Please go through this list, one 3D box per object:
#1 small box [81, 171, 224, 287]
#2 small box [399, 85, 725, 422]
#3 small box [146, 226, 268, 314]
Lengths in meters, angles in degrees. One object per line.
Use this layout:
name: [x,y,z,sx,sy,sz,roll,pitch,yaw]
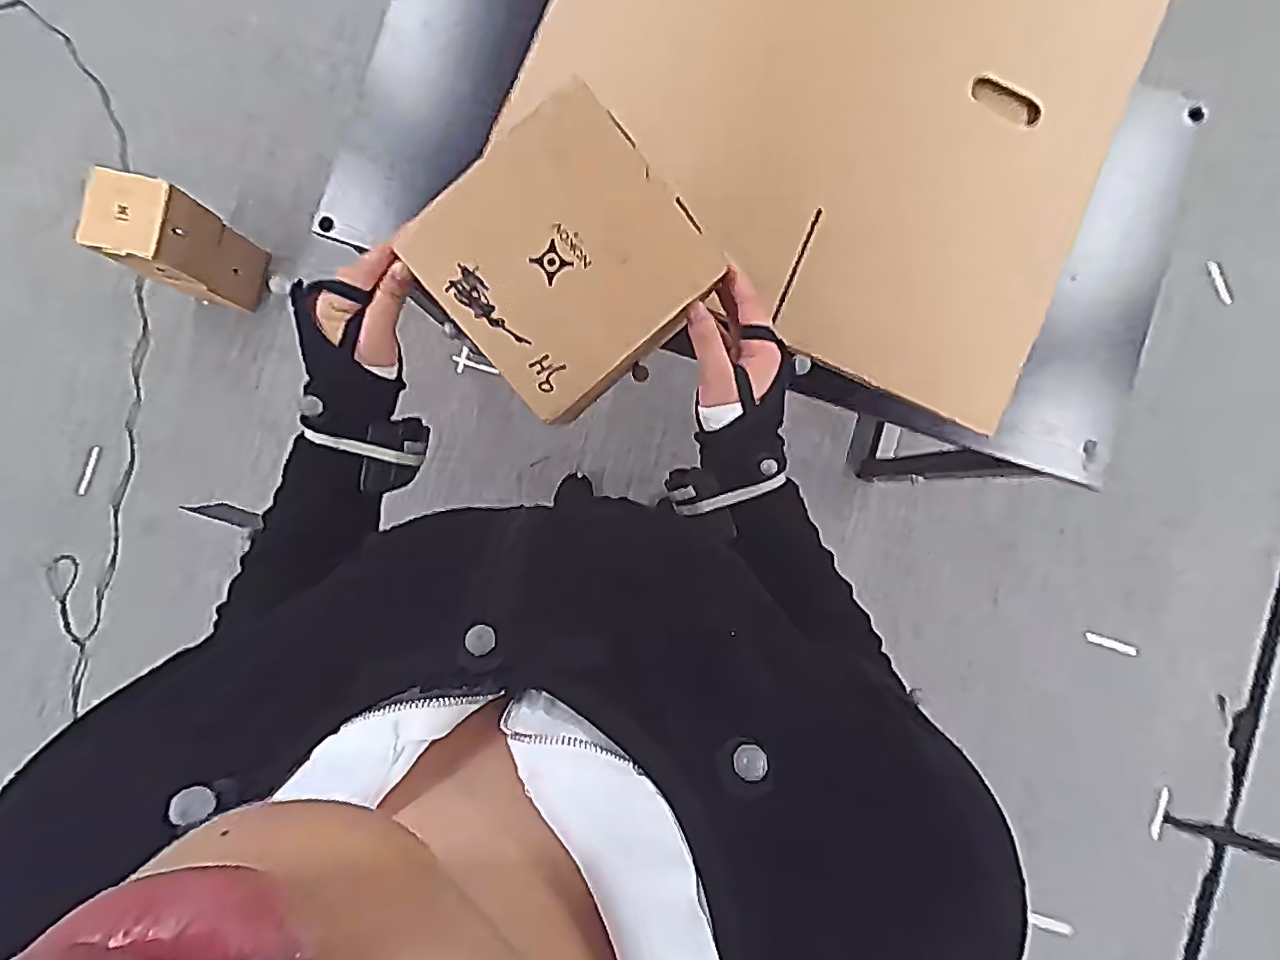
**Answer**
small box: [-1.114,-0.570,1.252,0.168,0.176,0.179,11,87,-2]
small box: [-0.058,-0.166,0.462,0.179,0.176,0.168,-41,95,1]
small box: [-1.119,-0.559,1.414,0.168,0.176,0.179,14,89,-1]
